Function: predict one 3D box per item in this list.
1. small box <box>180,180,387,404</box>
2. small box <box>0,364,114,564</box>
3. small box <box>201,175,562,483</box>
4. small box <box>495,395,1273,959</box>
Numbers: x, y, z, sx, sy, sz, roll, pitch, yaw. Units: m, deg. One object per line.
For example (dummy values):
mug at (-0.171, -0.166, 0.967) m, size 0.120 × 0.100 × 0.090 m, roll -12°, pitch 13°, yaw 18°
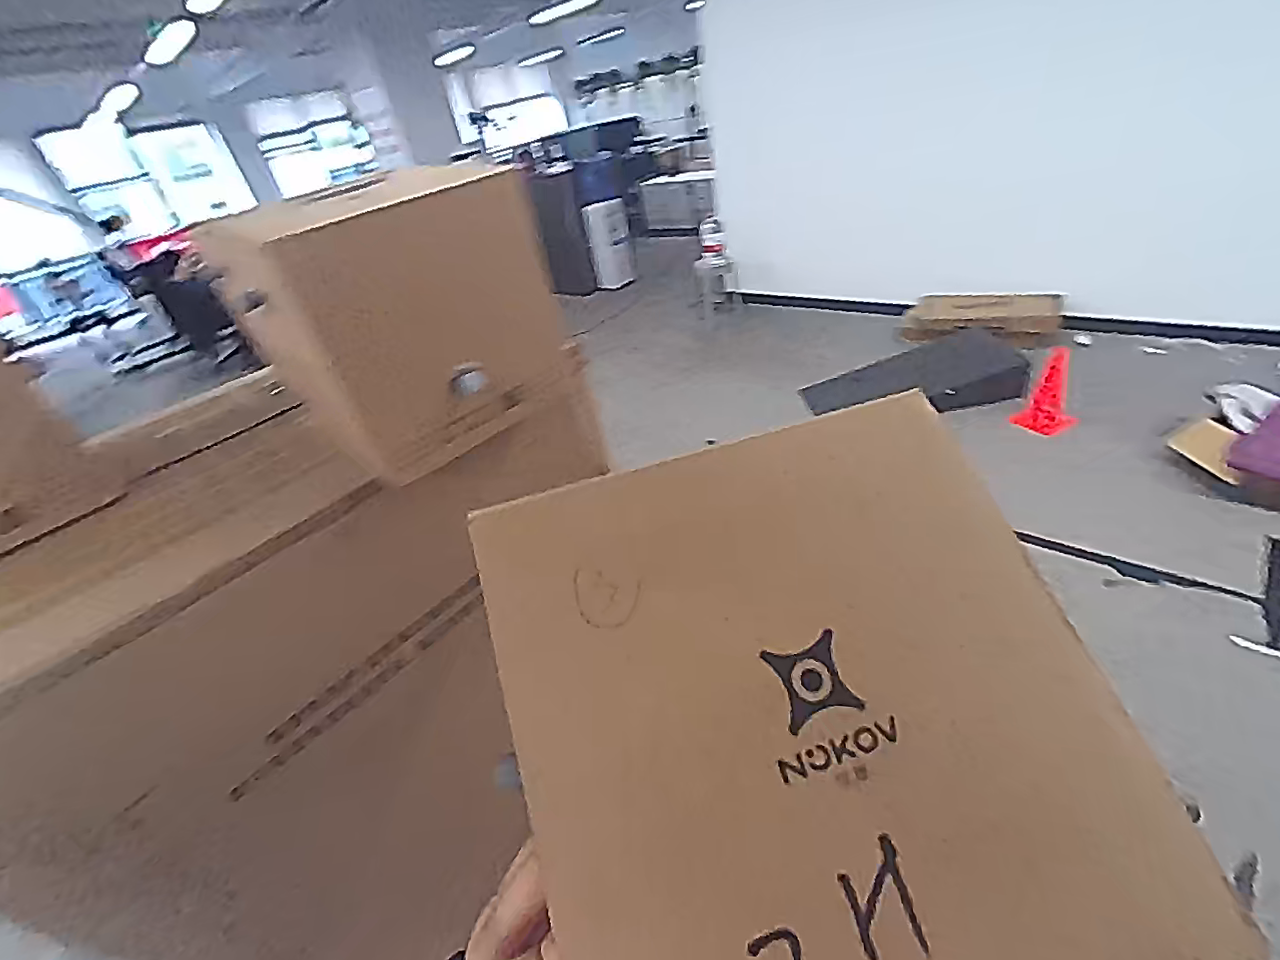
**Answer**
small box at (-0.324, -0.191, 0.563) m, size 0.179 × 0.176 × 0.168 m, roll 21°, pitch 49°, yaw 41°
small box at (-0.541, -0.019, 0.390) m, size 0.179 × 0.176 × 0.168 m, roll 15°, pitch 43°, yaw 36°
small box at (-0.189, -0.123, 0.422) m, size 0.168 × 0.176 × 0.179 m, roll -37°, pitch 44°, yaw -27°
small box at (0.051, 0.096, 0.226) m, size 0.168 × 0.176 × 0.179 m, roll -16°, pitch 67°, yaw -7°
